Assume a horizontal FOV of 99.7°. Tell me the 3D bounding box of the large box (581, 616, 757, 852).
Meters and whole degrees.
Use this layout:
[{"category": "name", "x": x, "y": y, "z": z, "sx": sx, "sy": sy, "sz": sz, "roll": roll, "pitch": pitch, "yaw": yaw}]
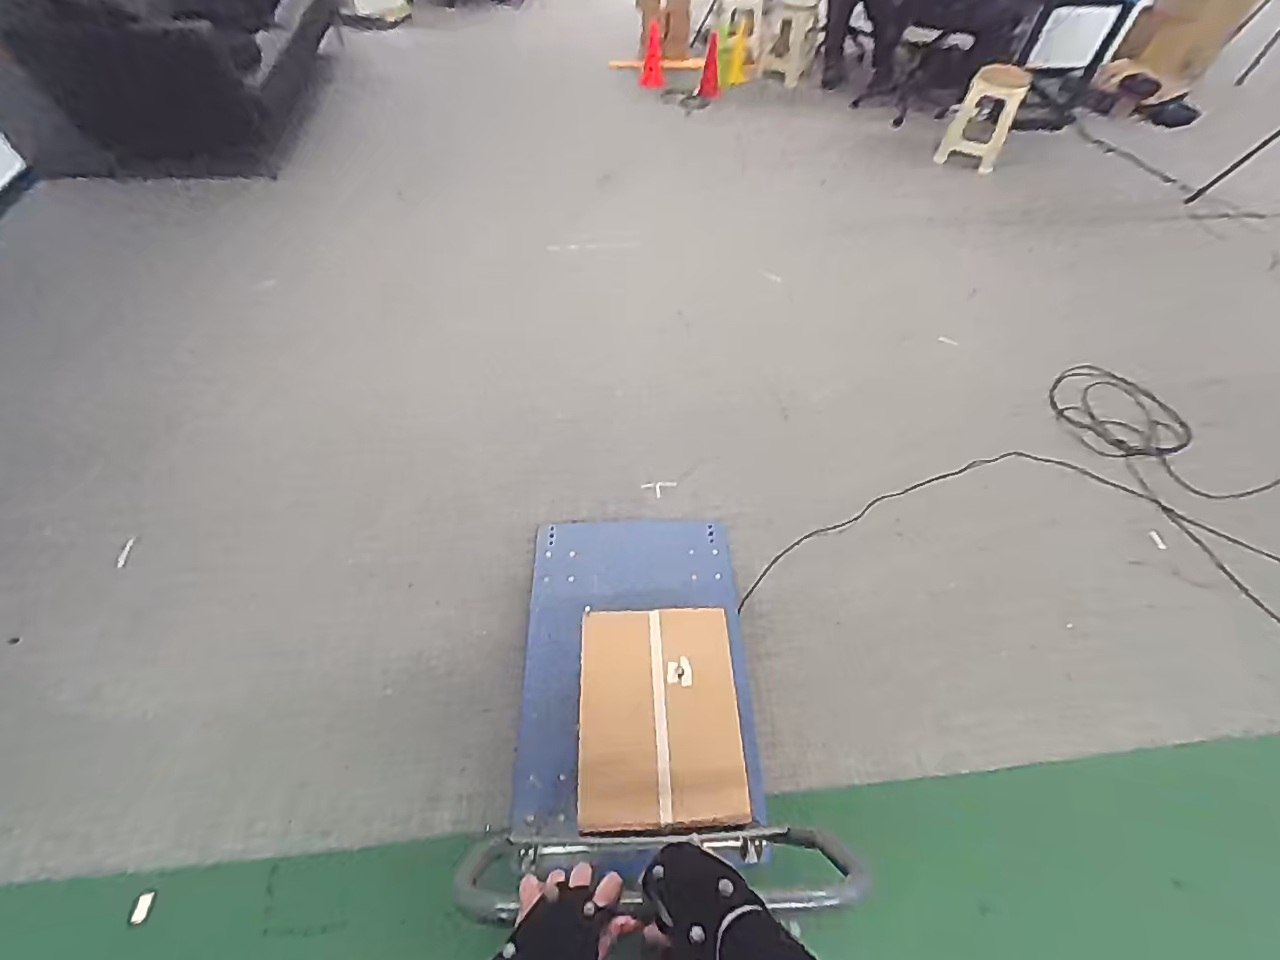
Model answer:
[{"category": "large box", "x": 0.040, "y": 0.549, "z": 1.170, "sx": 0.320, "sy": 0.320, "sz": 0.408, "roll": -1, "pitch": 53, "yaw": -3}]
